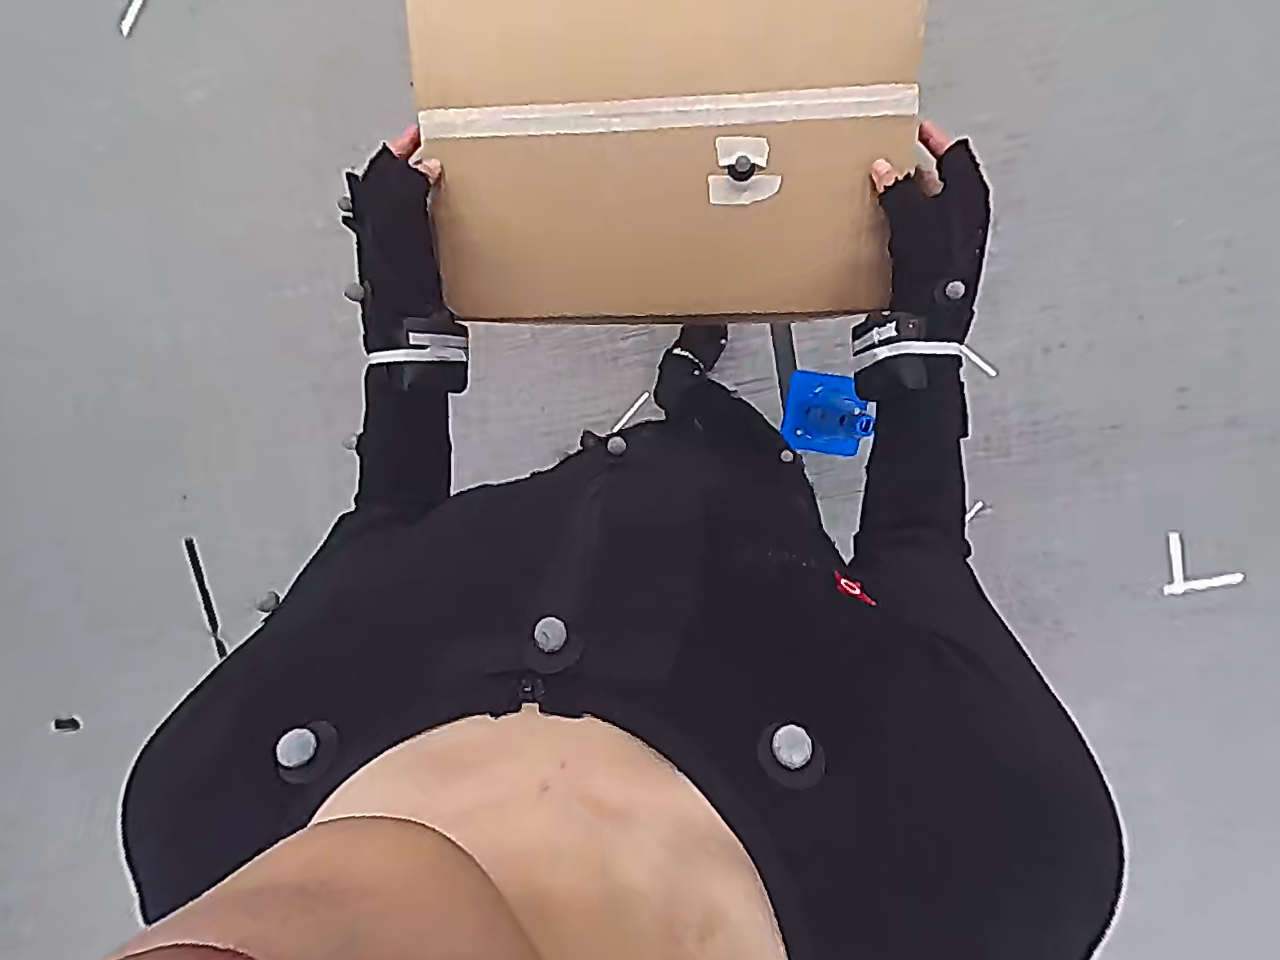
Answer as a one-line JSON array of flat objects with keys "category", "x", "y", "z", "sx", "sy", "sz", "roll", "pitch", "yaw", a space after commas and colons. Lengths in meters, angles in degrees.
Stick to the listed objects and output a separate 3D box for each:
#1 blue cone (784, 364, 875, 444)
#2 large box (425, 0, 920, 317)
[{"category": "blue cone", "x": 0.454, "y": -0.164, "z": 1.219, "sx": 0.193, "sy": 0.380, "sz": 0.192, "roll": 10, "pitch": 101, "yaw": 5}, {"category": "large box", "x": 0.030, "y": -0.351, "z": 0.595, "sx": 0.408, "sy": 0.320, "sz": 0.320, "roll": 1, "pitch": 105, "yaw": 4}]
